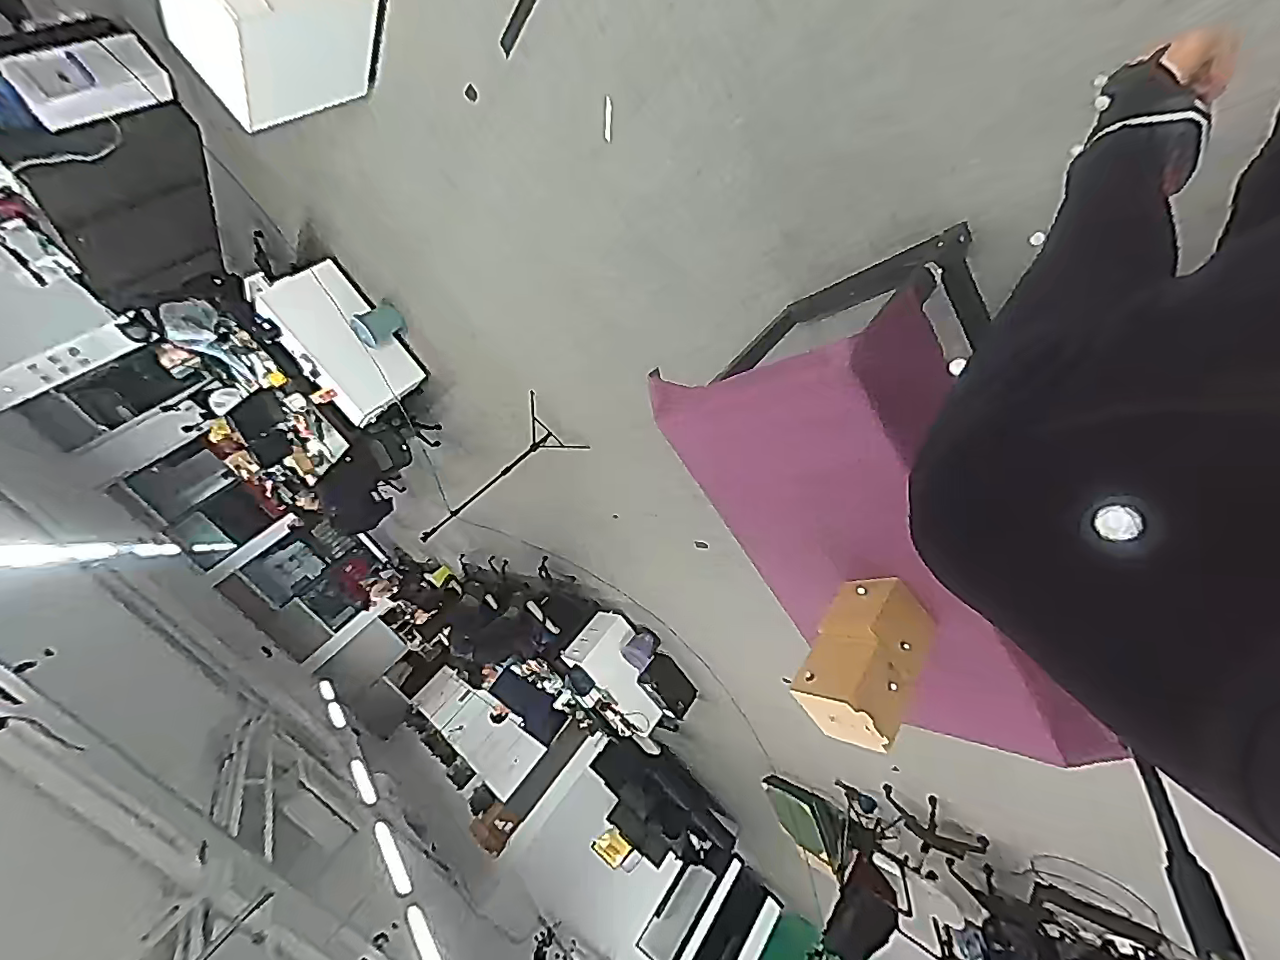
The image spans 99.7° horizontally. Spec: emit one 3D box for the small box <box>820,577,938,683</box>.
[{"bbox_3d":[0.581,0.359,1.308,0.179,0.176,0.168,49,150,-8],"label":"small box"}]

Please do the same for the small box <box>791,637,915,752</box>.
[{"bbox_3d":[0.489,0.480,1.240,0.168,0.176,0.179,50,150,-13],"label":"small box"}]
